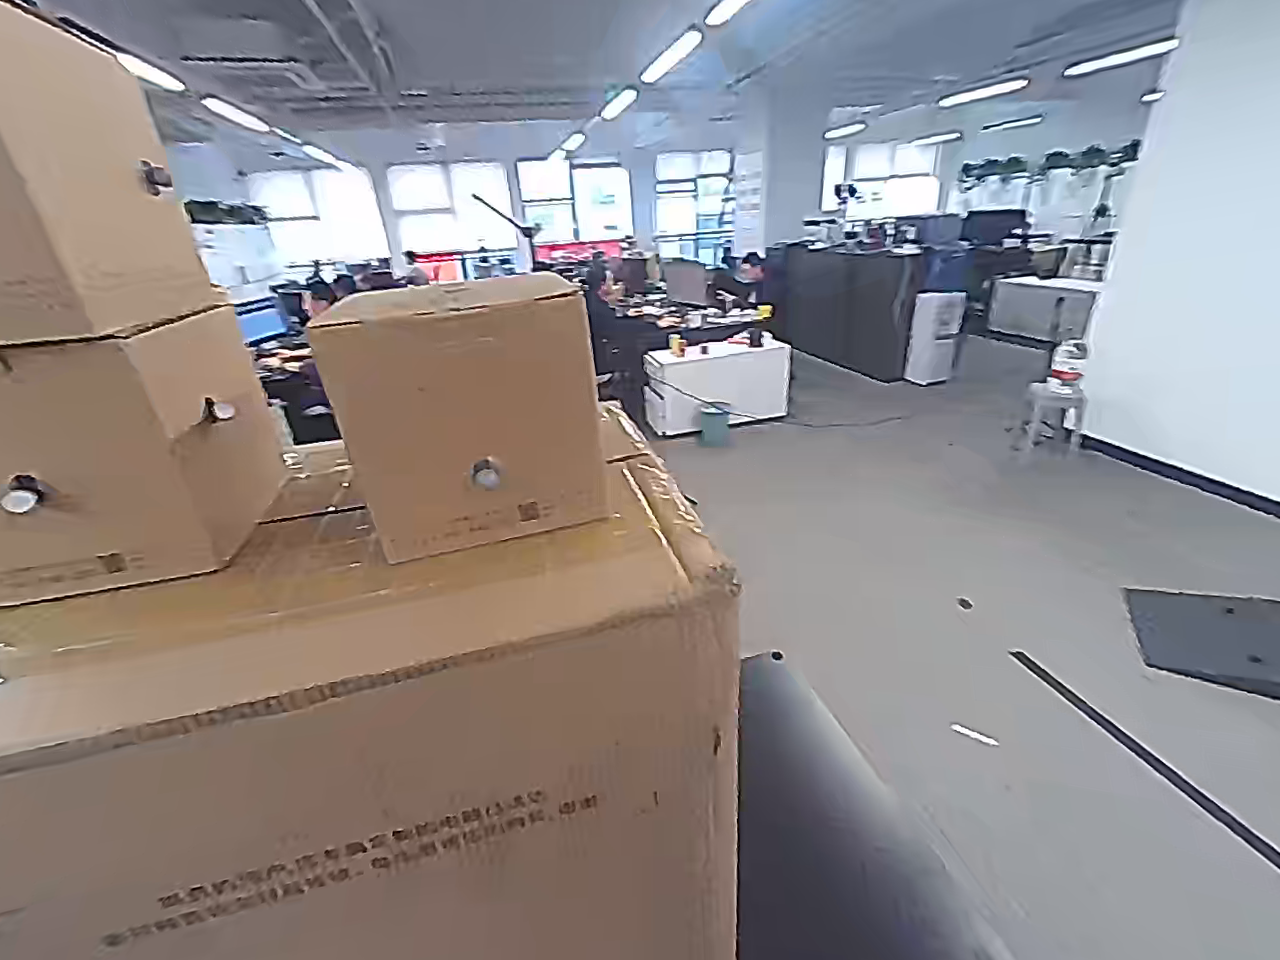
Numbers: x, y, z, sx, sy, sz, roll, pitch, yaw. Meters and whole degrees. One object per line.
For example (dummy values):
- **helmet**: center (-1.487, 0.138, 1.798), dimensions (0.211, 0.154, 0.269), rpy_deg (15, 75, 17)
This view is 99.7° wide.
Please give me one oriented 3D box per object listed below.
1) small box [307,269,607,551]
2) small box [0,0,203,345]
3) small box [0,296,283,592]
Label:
- **small box**: center (-0.128, -0.067, 0.433), dimensions (0.168, 0.176, 0.179), rpy_deg (-12, 27, -11)
- **small box**: center (-0.405, -0.174, 0.320), dimensions (0.168, 0.176, 0.179), rpy_deg (-11, 27, -14)
- **small box**: center (-0.399, -0.032, 0.403), dimensions (0.168, 0.176, 0.179), rpy_deg (-9, 27, -14)
